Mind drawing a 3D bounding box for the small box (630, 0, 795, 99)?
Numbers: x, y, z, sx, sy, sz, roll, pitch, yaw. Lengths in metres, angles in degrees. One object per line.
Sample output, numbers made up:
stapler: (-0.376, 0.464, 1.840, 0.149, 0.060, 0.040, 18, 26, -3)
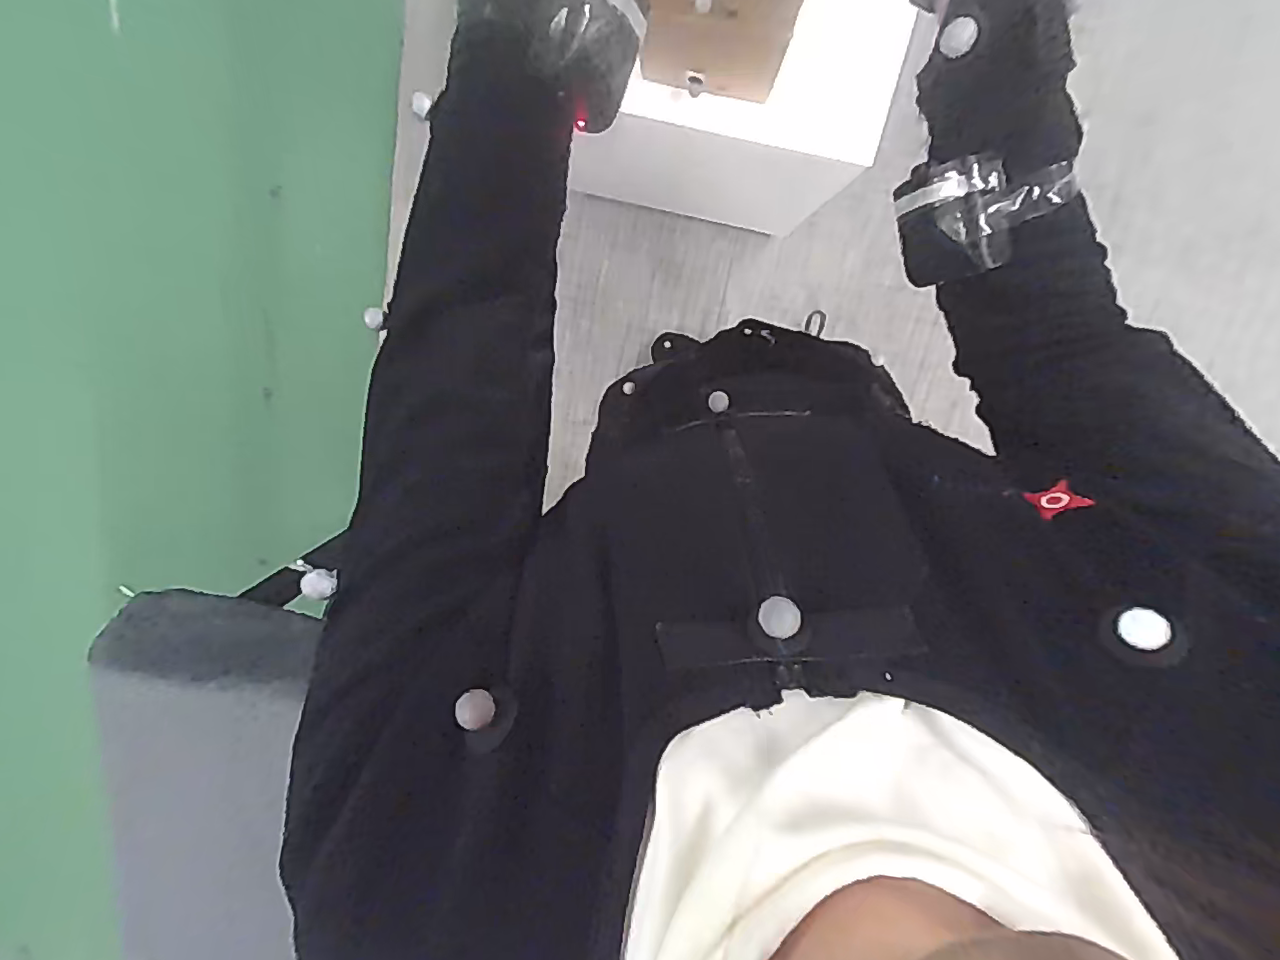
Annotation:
small box: (0.090, -0.553, 0.583, 0.168, 0.176, 0.179, 11, 107, 2)

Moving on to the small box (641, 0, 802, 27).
small box: (0.076, -0.513, 0.424, 0.168, 0.176, 0.179, 9, 105, 2)
